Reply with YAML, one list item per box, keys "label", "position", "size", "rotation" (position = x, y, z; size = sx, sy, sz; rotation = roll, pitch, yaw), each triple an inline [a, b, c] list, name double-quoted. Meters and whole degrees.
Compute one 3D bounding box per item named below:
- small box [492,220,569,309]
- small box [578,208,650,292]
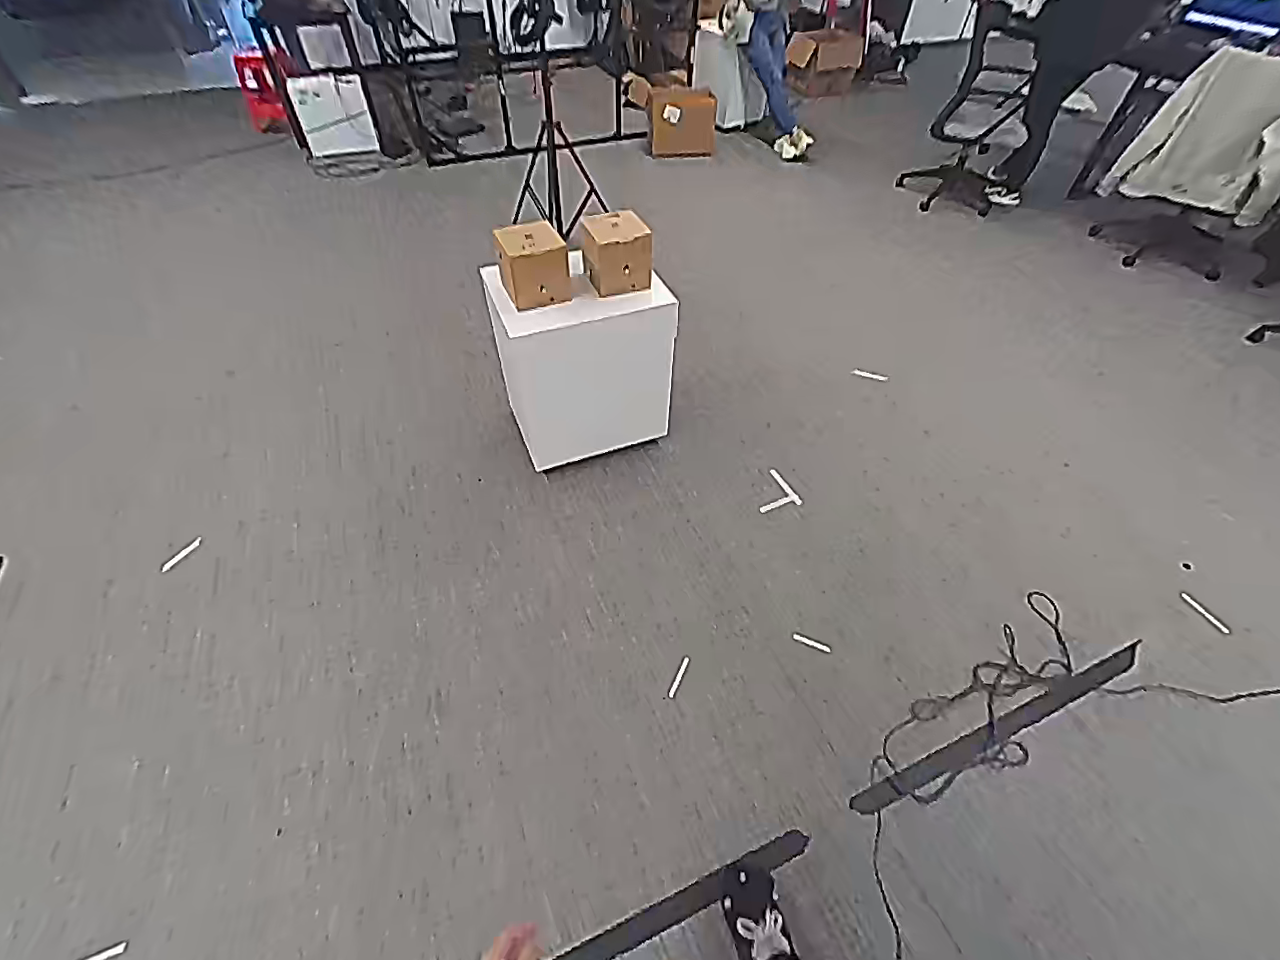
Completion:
- label: "small box"
  position: [-0.312, -0.620, 1.557]
  size: [0.168, 0.176, 0.179]
  rotation: [-19, 53, -16]
- label: "small box"
  position: [-0.076, -0.678, 1.612]
  size: [0.168, 0.176, 0.179]
  rotation: [-17, 53, -13]
